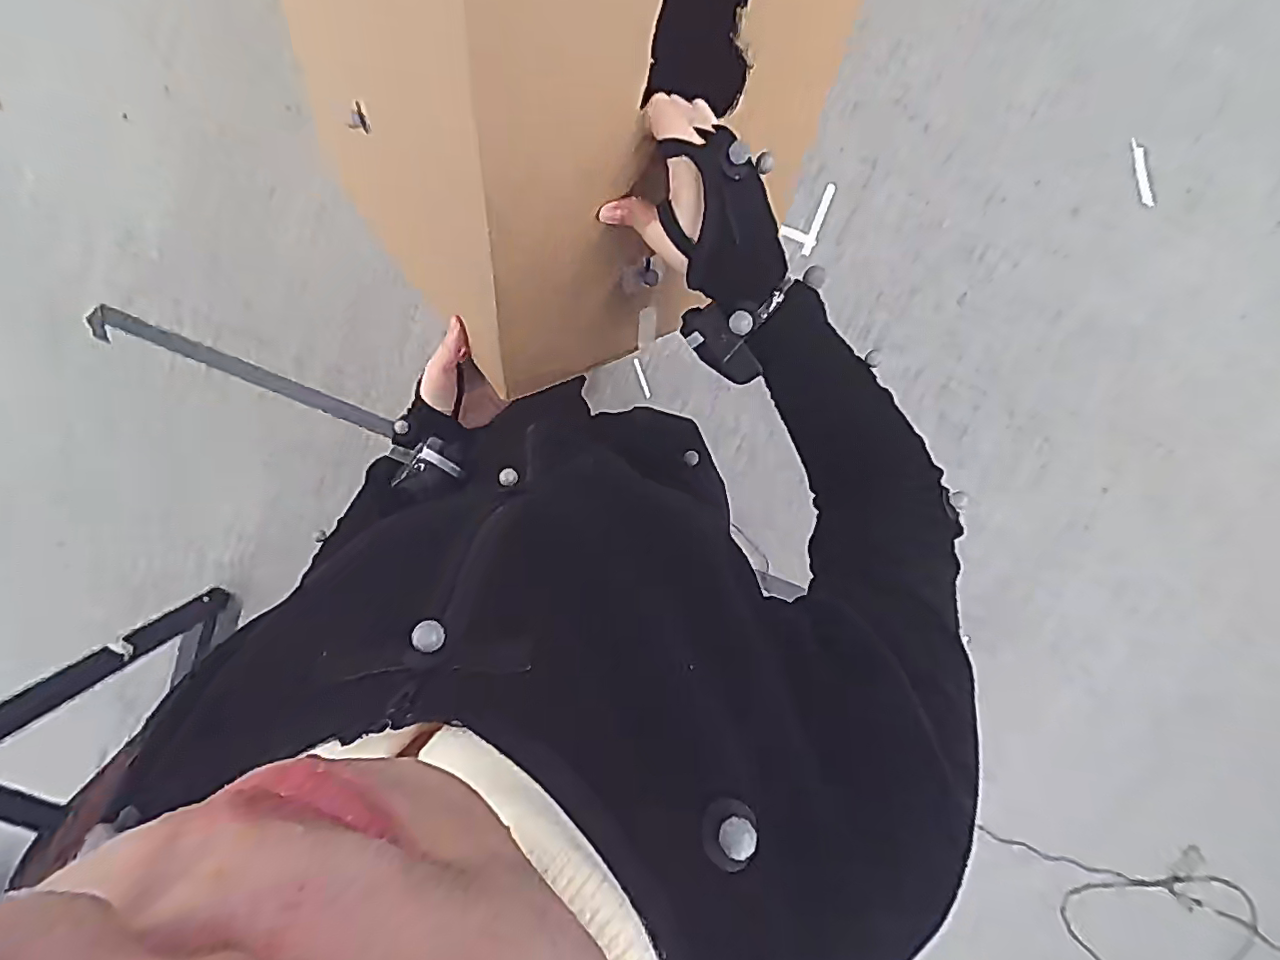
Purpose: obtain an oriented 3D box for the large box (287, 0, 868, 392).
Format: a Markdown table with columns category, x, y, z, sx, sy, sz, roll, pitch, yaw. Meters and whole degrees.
| category | x | y | z | sx | sy | sz | roll | pitch | yaw |
| --- | --- | --- | --- | --- | --- | --- | --- | --- | --- |
| large box | -0.083 | -0.354 | 0.475 | 0.320 | 0.320 | 0.408 | -28 | 63 | -24 |
